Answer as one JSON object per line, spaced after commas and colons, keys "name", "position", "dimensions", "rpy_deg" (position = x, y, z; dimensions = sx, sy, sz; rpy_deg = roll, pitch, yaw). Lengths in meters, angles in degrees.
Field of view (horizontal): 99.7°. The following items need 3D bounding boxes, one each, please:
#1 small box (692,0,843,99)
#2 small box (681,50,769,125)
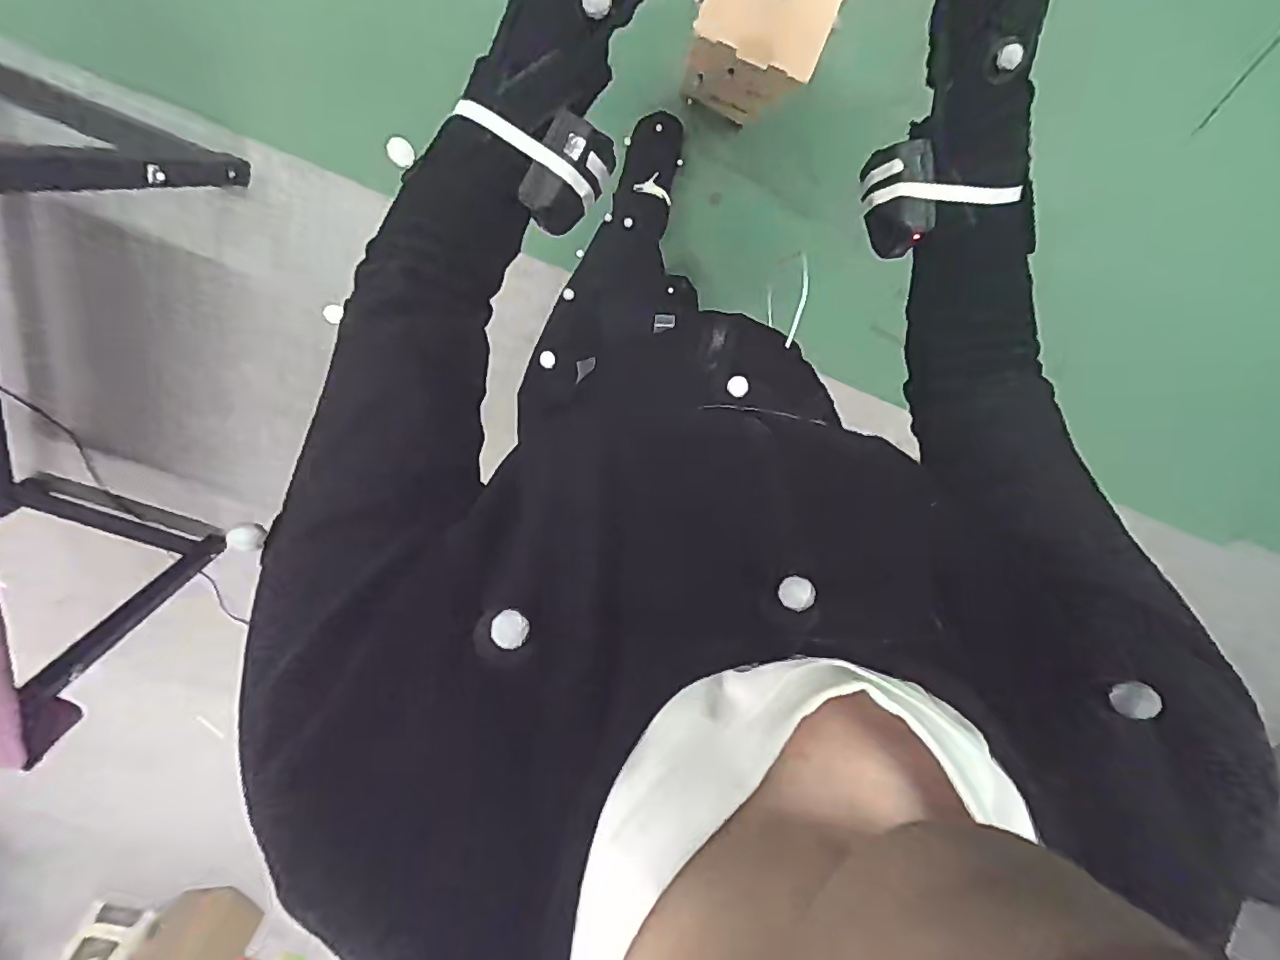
{"name": "small box", "position": [0.179, -0.663, 0.744], "dimensions": [0.168, 0.176, 0.179], "rpy_deg": [18, 117, -9]}
{"name": "small box", "position": [0.188, -0.813, 1.036], "dimensions": [0.168, 0.176, 0.179], "rpy_deg": [21, 116, -10]}
